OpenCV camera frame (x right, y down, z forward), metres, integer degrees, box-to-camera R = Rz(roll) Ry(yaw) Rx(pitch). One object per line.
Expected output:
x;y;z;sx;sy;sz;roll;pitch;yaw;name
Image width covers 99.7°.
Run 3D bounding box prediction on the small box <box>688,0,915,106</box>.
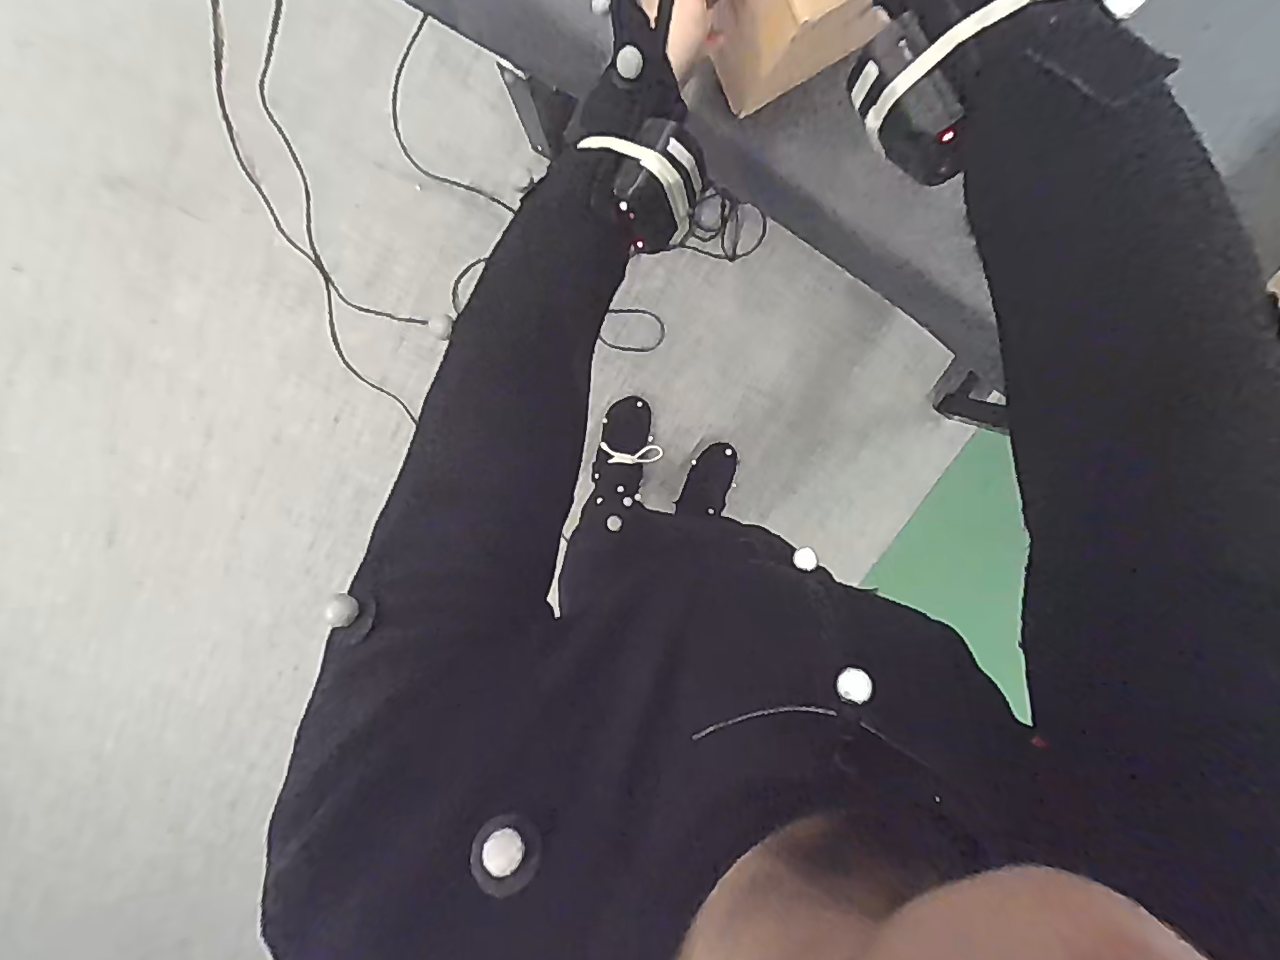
0.132;-0.420;0.390;0.179;0.176;0.168;-28;107;4;small box
